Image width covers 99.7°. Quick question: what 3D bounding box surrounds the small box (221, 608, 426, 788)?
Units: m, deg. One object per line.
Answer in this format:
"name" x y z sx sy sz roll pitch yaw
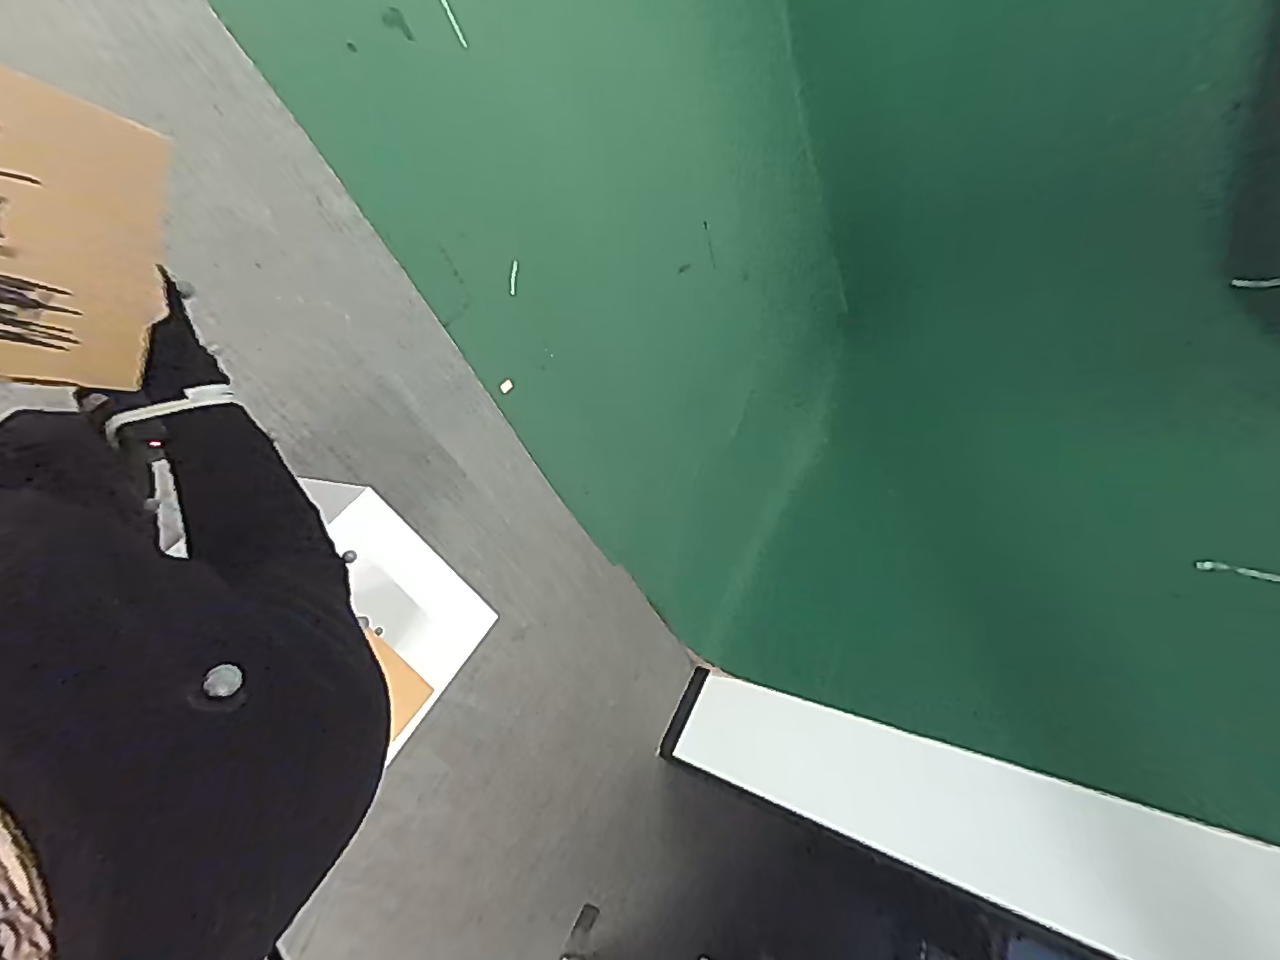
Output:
"small box" -0.471 0.316 0.814 0.168 0.176 0.179 -54 132 -35
